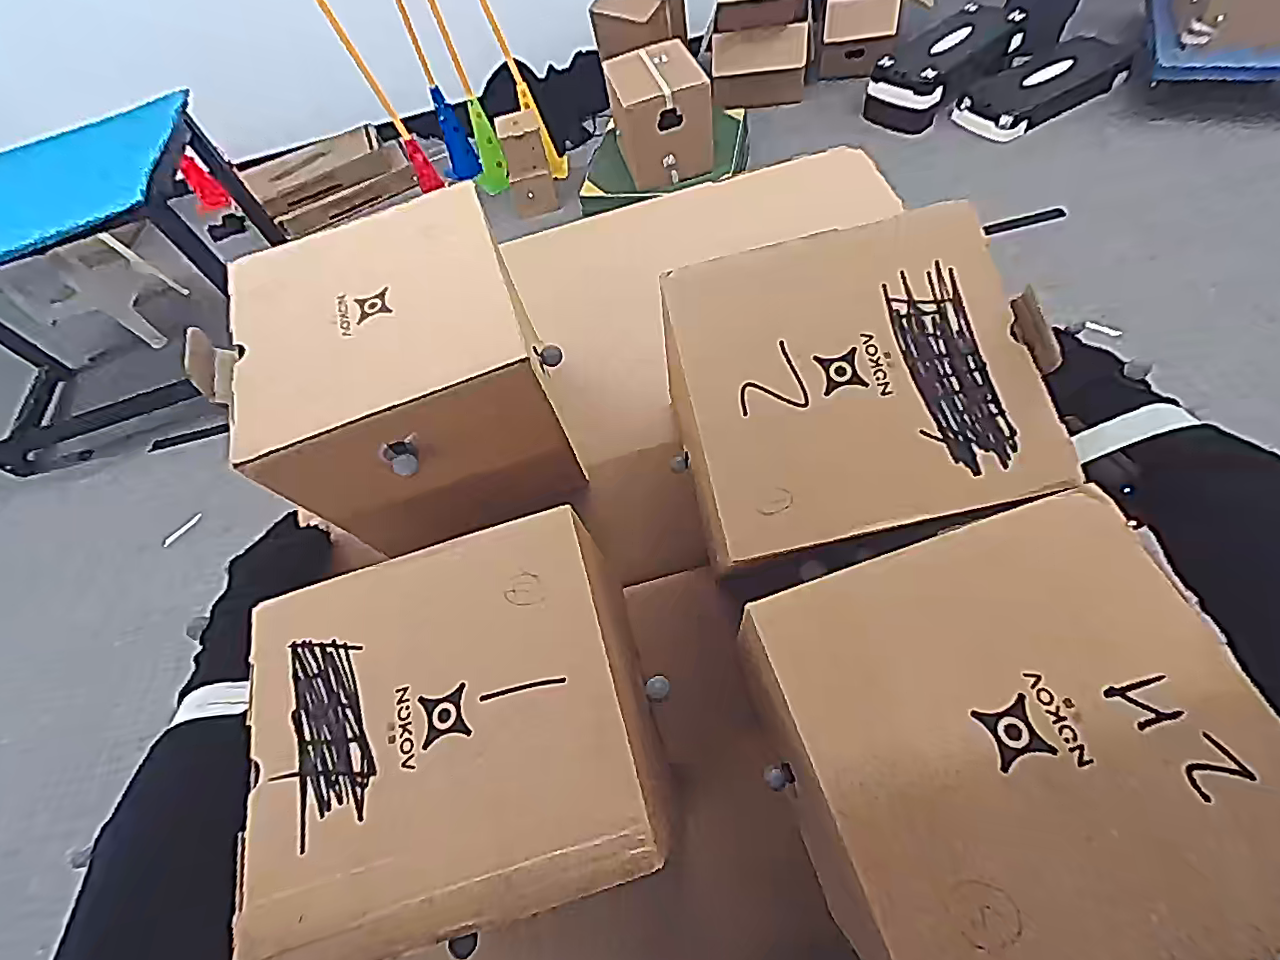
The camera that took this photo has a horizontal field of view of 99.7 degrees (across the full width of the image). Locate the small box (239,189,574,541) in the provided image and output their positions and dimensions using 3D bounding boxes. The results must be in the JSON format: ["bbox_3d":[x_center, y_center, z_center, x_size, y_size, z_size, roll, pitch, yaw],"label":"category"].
[{"bbox_3d":[-0.161,-0.075,0.416,0.179,0.176,0.168,-21,64,-1],"label":"small box"}]
